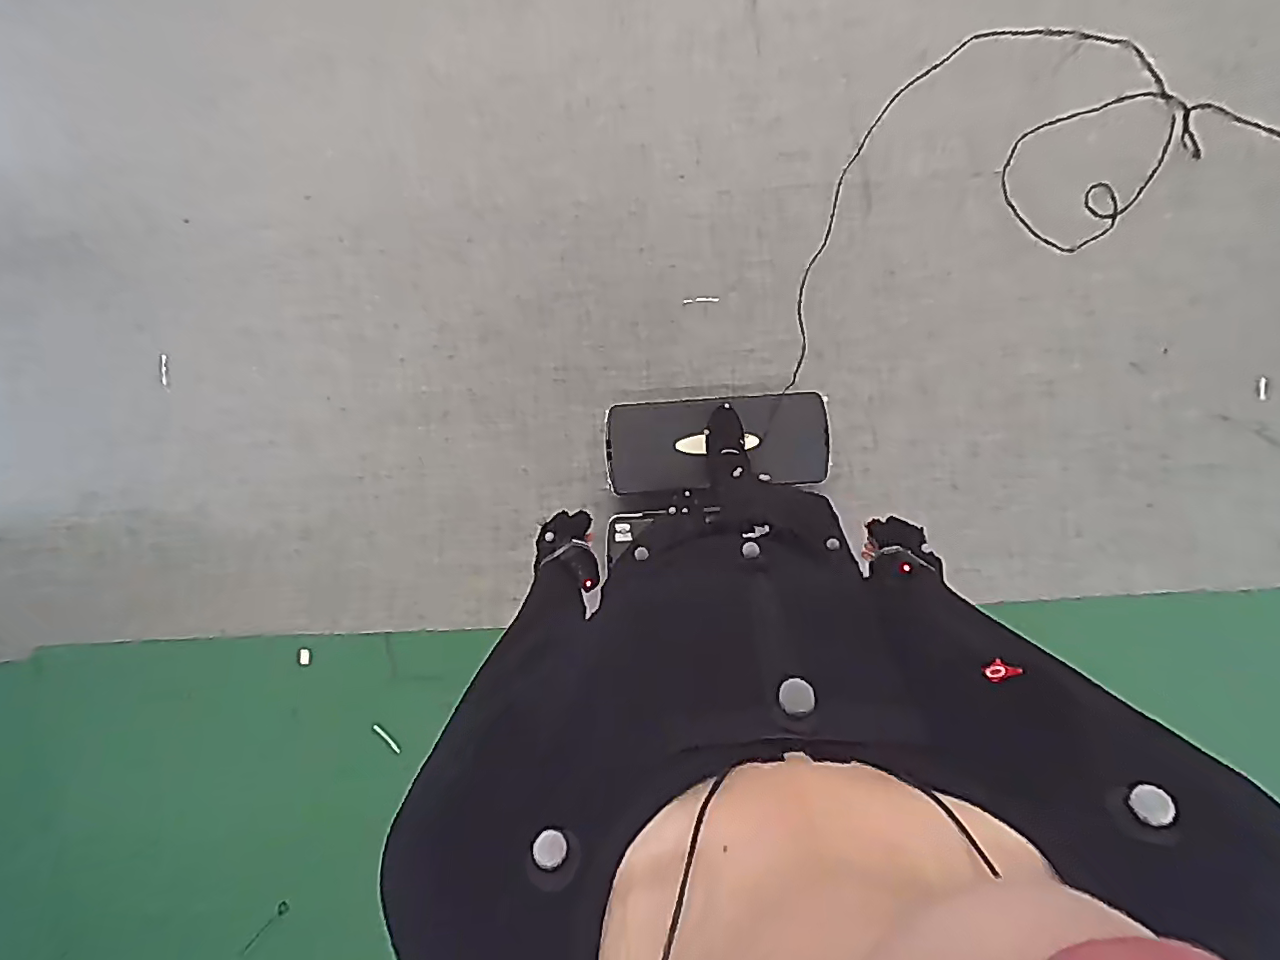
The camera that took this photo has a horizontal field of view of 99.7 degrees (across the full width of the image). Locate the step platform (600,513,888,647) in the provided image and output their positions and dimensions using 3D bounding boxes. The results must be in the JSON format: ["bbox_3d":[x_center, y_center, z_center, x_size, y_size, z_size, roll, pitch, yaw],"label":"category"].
[{"bbox_3d":[0.246,0.244,1.378,0.684,0.204,0.286,-4,89,1],"label":"step platform"}]
